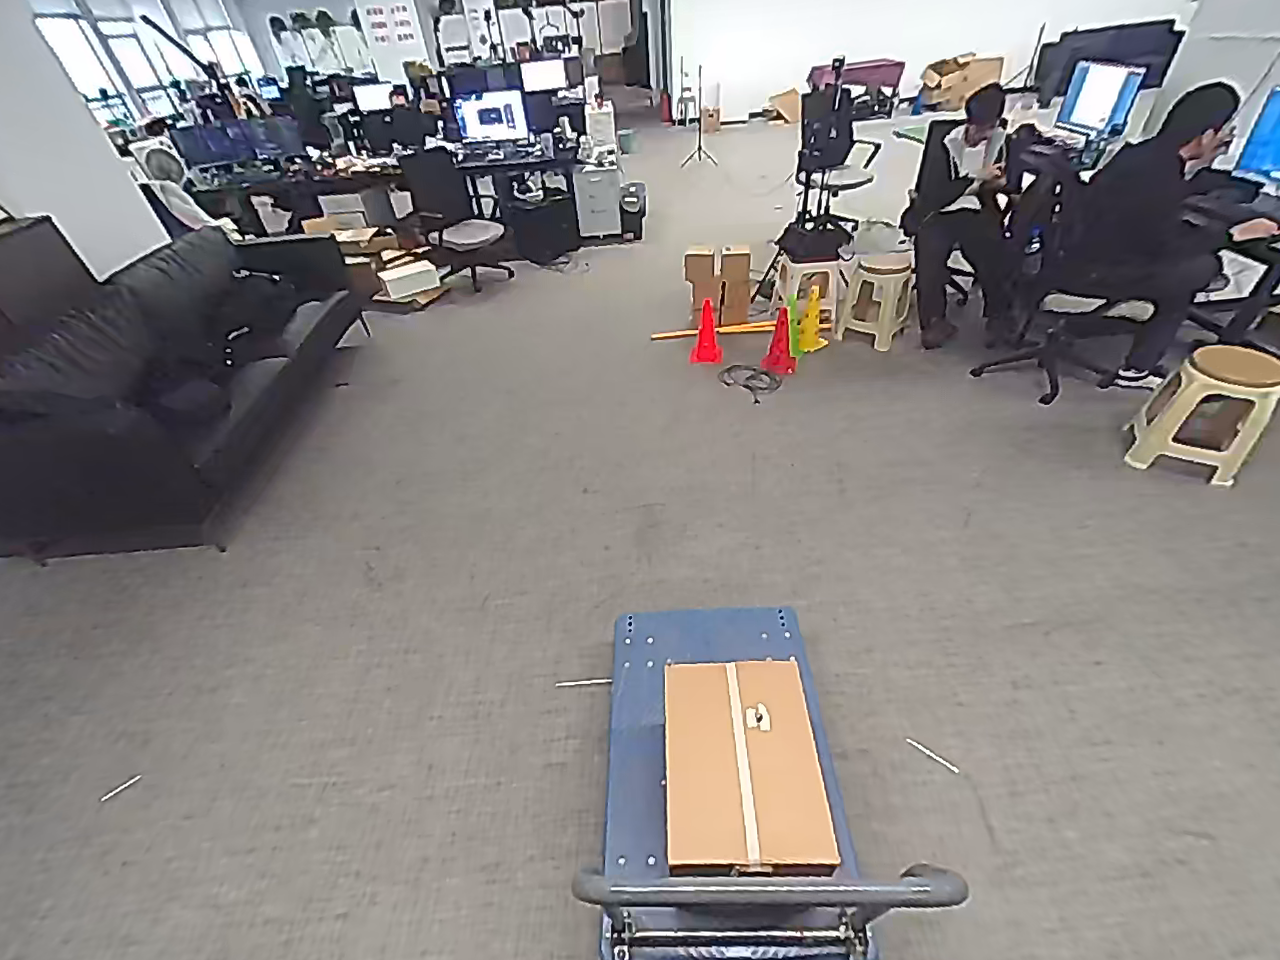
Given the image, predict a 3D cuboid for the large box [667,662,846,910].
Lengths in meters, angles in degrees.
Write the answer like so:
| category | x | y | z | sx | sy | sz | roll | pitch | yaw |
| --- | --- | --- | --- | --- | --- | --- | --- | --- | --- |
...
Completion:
| category | x | y | z | sx | sy | sz | roll | pitch | yaw |
| --- | --- | --- | --- | --- | --- | --- | --- | --- | --- |
| large box | 0.229 | 0.675 | 1.210 | 0.320 | 0.320 | 0.408 | -3 | 40 | 3 |
